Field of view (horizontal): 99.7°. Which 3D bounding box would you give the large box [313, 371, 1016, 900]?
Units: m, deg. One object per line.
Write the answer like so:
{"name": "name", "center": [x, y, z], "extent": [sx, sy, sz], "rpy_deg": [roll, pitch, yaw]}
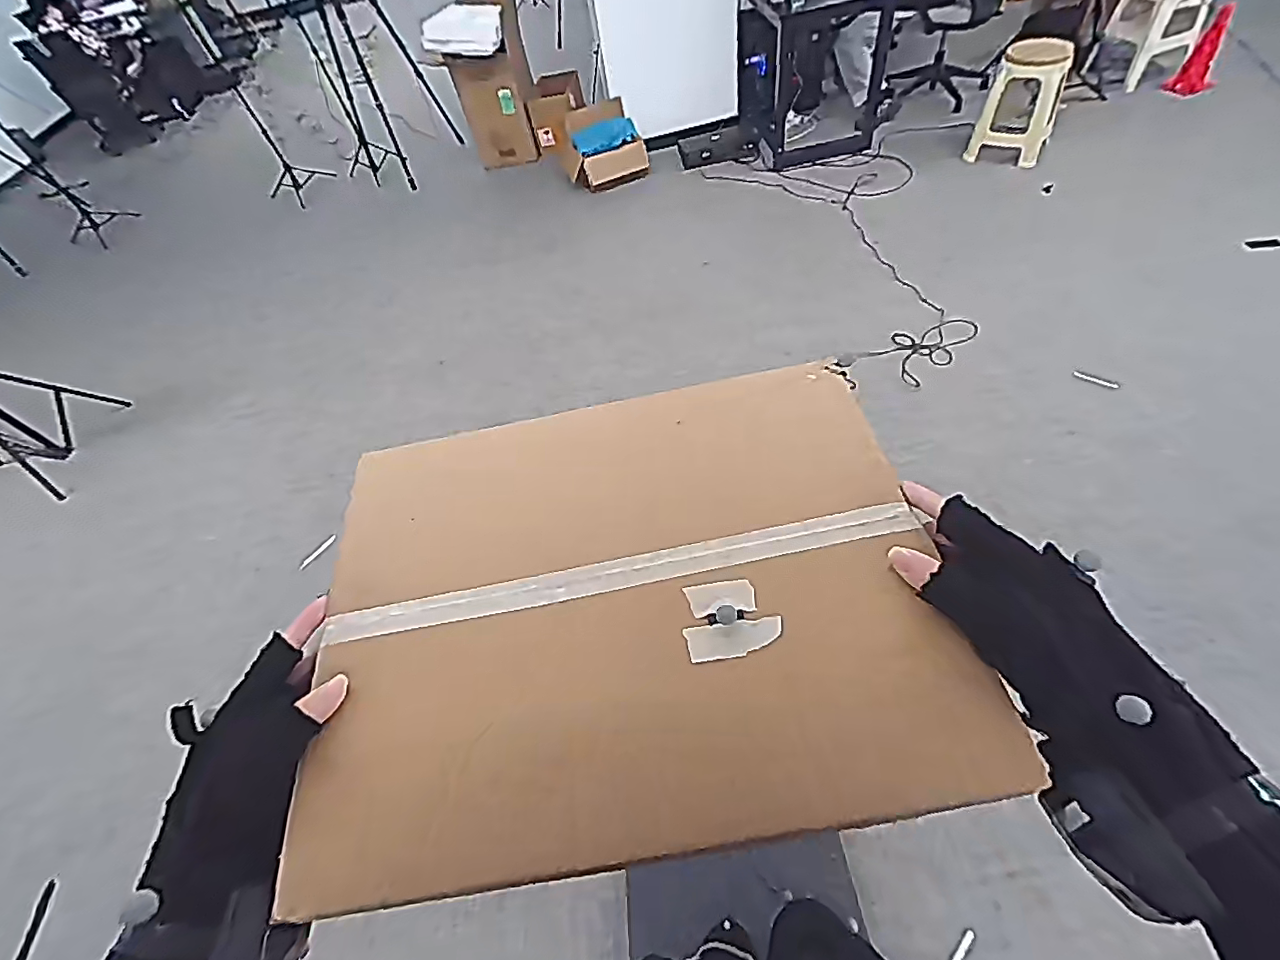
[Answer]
{"name": "large box", "center": [0.007, 0.152, 0.500], "extent": [0.408, 0.320, 0.320], "rpy_deg": [-11, 56, 1]}
